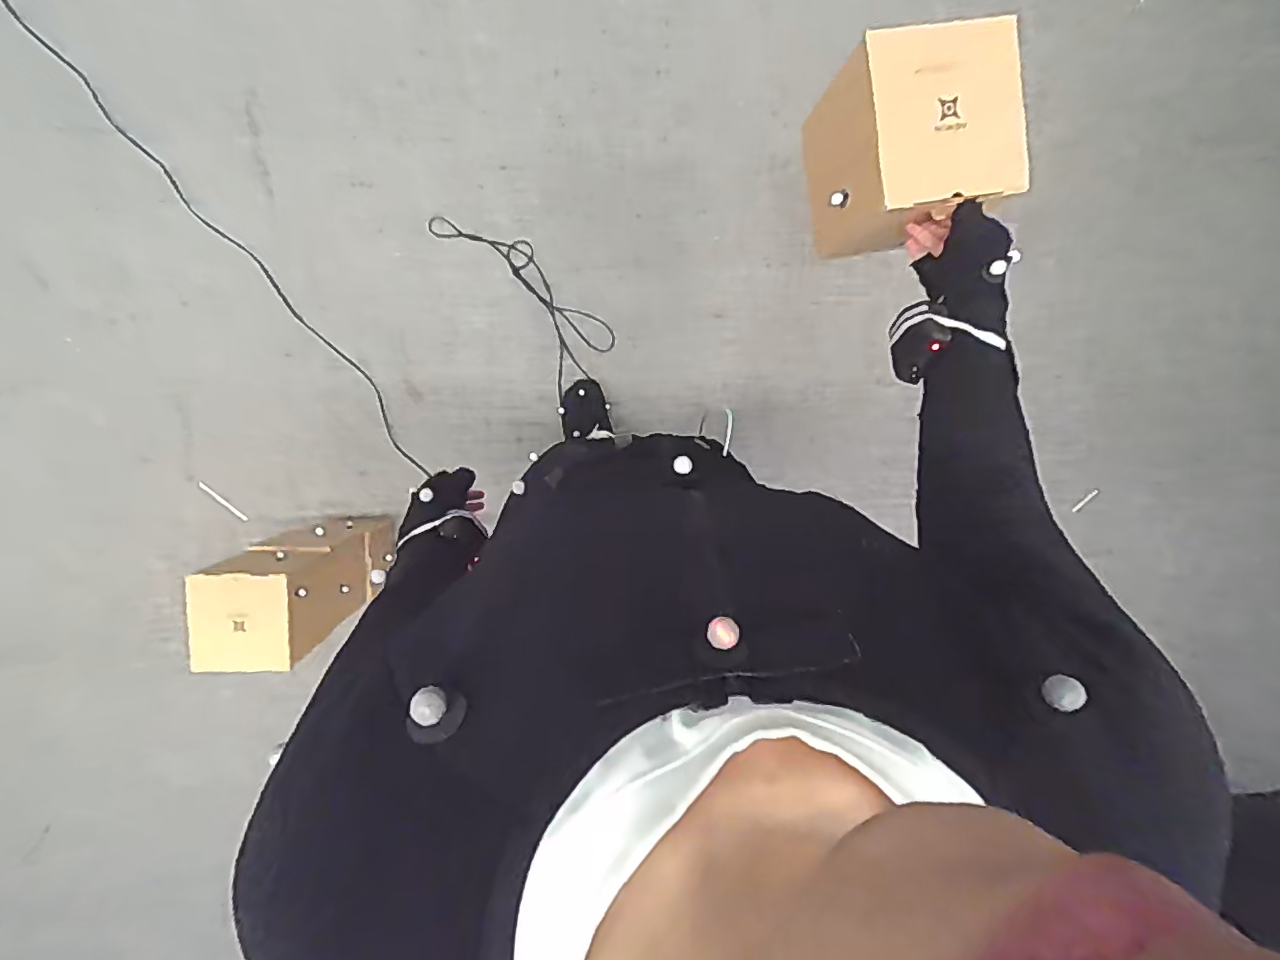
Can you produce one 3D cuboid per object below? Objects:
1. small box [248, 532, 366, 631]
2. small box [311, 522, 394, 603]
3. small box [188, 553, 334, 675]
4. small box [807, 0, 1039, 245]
[{"bbox_3d":[-0.711,0.217,1.171,0.168,0.176,0.179,1,96,-6],"label":"small box"},{"bbox_3d":[-0.720,0.198,1.335,0.179,0.176,0.168,0,96,-6],"label":"small box"},{"bbox_3d":[-0.695,0.244,1.012,0.168,0.176,0.179,1,96,-5],"label":"small box"},{"bbox_3d":[0.308,-0.386,0.618,0.168,0.176,0.179,-10,95,-5],"label":"small box"}]
